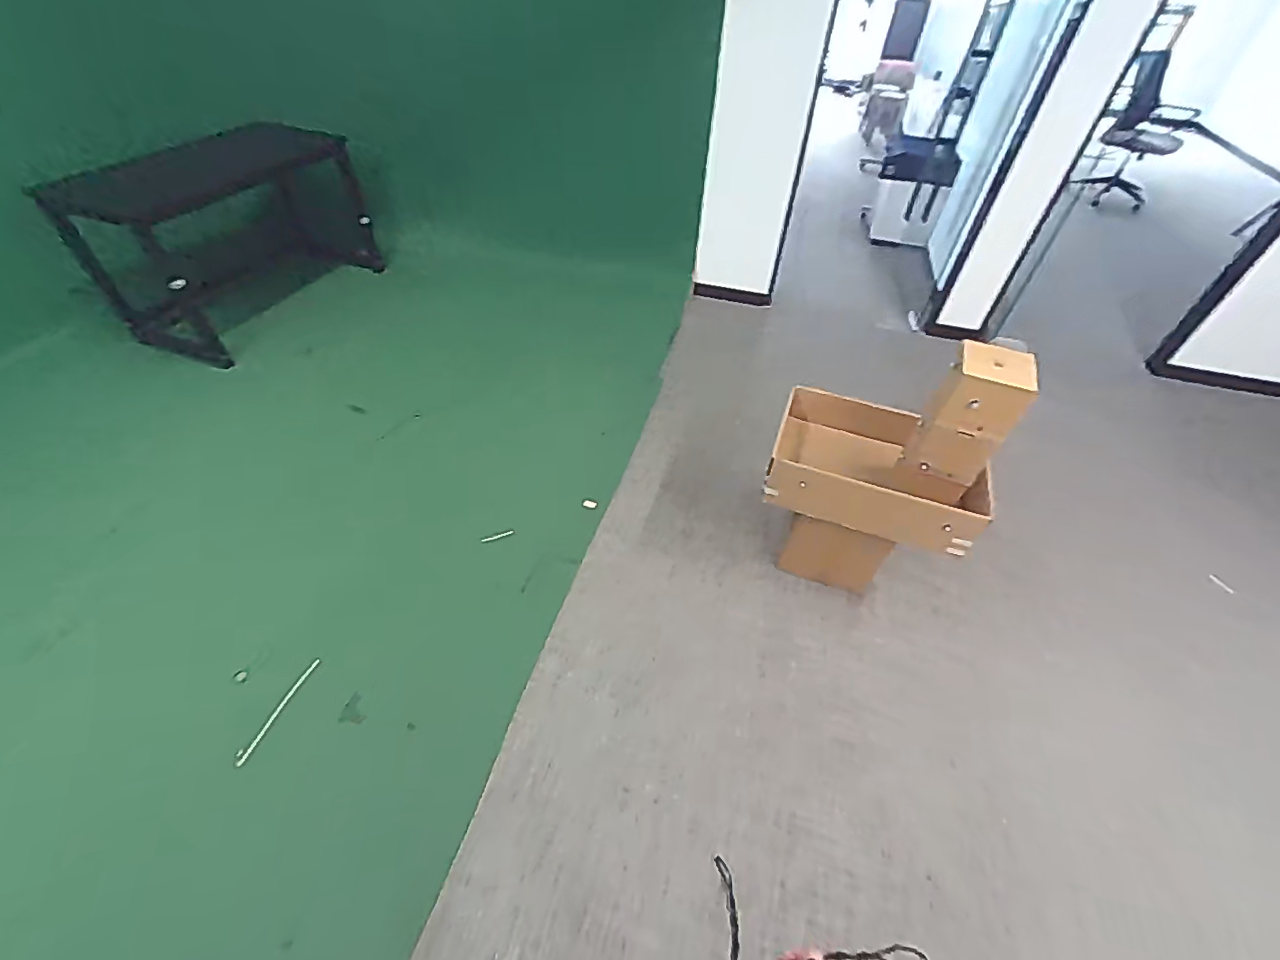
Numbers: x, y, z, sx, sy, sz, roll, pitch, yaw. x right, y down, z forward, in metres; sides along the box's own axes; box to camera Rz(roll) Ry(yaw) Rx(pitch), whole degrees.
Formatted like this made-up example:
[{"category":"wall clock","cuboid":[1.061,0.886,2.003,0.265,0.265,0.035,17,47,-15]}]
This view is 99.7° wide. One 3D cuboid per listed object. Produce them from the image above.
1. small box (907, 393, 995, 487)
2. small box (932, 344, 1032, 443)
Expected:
[{"category":"small box","cuboid":[0.863,-0.109,1.510,0.168,0.176,0.179,19,47,14]},{"category":"small box","cuboid":[0.873,-0.220,1.392,0.168,0.176,0.179,19,47,15]}]
